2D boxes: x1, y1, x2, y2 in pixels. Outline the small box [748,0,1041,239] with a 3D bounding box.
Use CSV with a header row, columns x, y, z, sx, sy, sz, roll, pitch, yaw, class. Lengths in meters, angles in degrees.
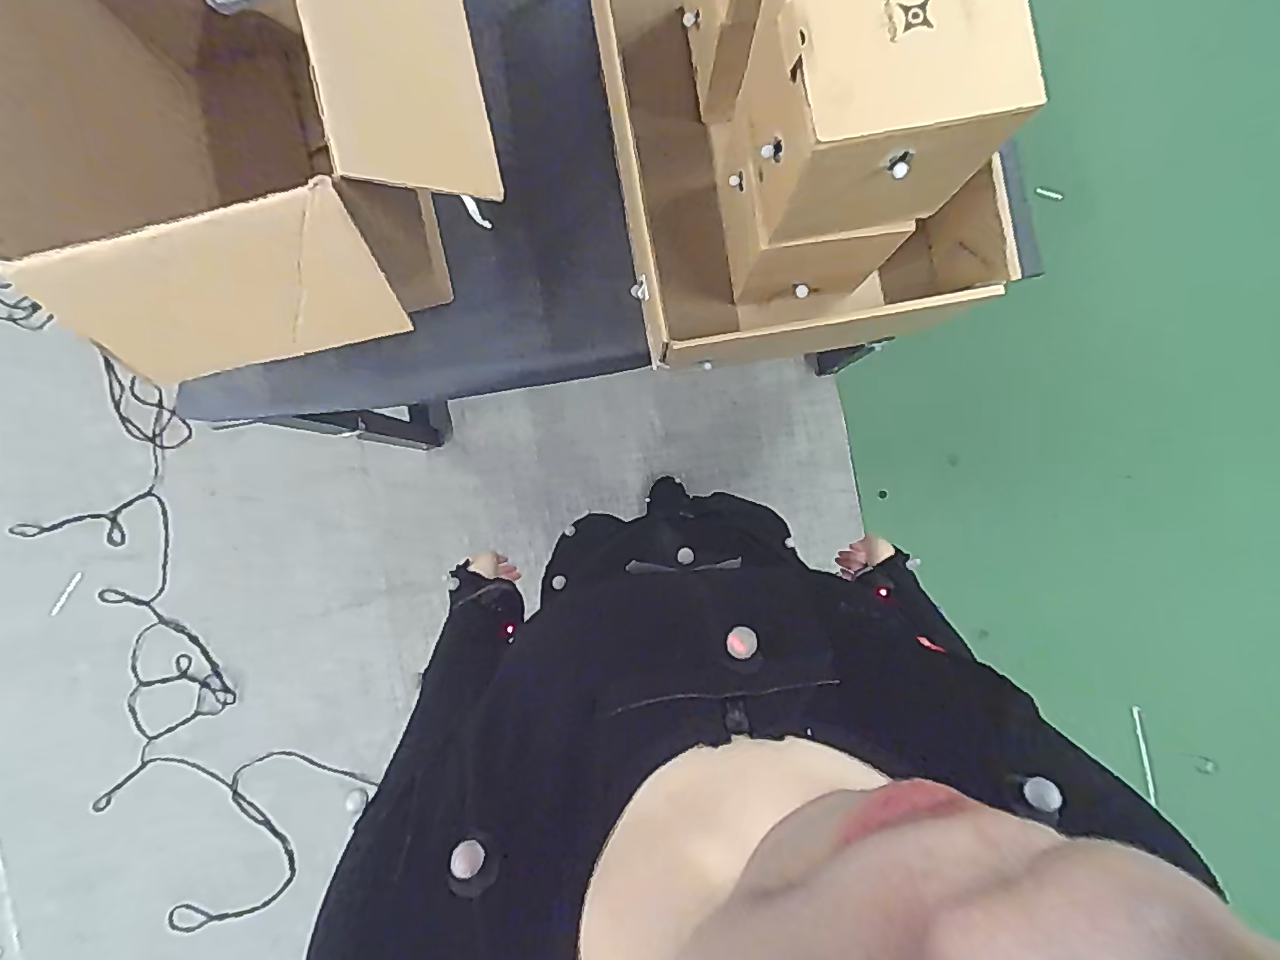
x,y,z,sx,sy,sz,roll,pitch,yaw,class
0.202,-0.340,0.485,0.179,0.176,0.168,-10,89,0,small box
